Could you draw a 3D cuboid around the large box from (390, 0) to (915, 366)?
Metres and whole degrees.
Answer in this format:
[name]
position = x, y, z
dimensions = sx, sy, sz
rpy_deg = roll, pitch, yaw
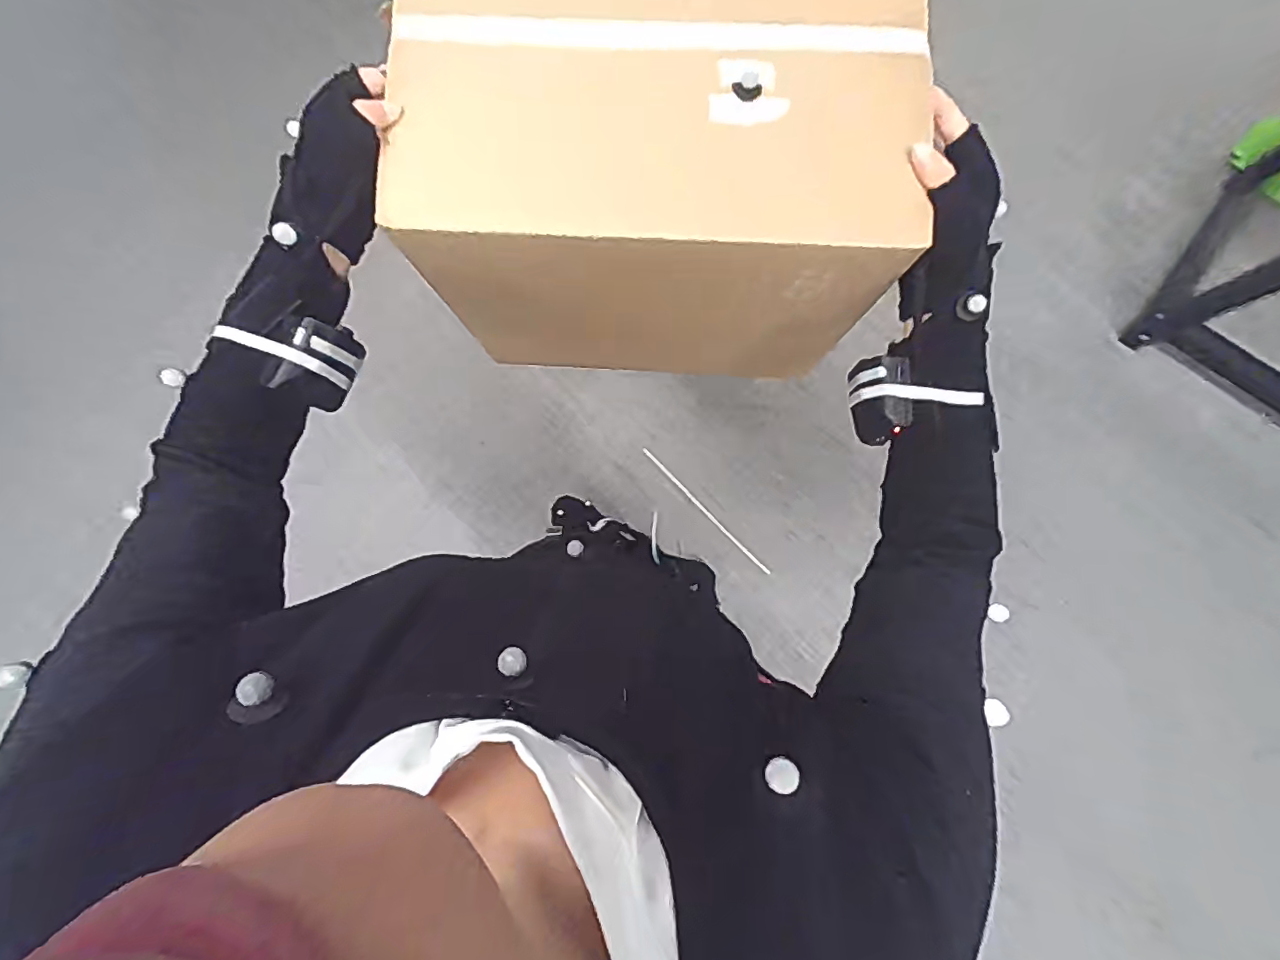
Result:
[large box]
position = 0.010, -0.317, 0.570
dimensions = 0.408, 0.320, 0.320
rpy_deg = 2, 84, 0
